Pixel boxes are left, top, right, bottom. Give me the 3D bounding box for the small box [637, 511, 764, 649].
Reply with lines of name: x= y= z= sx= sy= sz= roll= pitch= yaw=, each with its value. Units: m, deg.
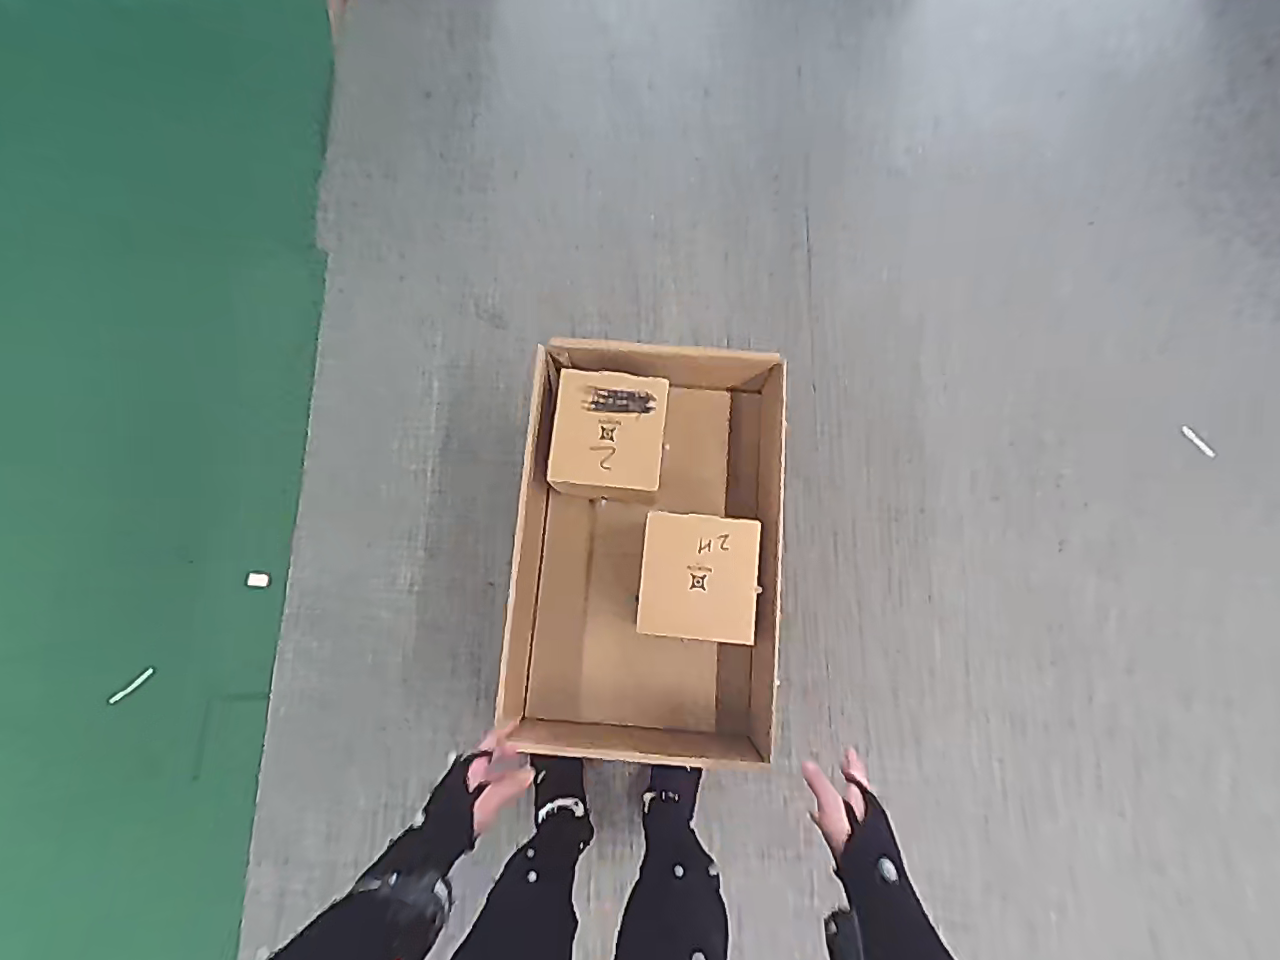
small box: x=0.087 y=0.152 z=0.834 sx=0.168 sy=0.176 sz=0.179 roll=6 pitch=79 yaw=1
